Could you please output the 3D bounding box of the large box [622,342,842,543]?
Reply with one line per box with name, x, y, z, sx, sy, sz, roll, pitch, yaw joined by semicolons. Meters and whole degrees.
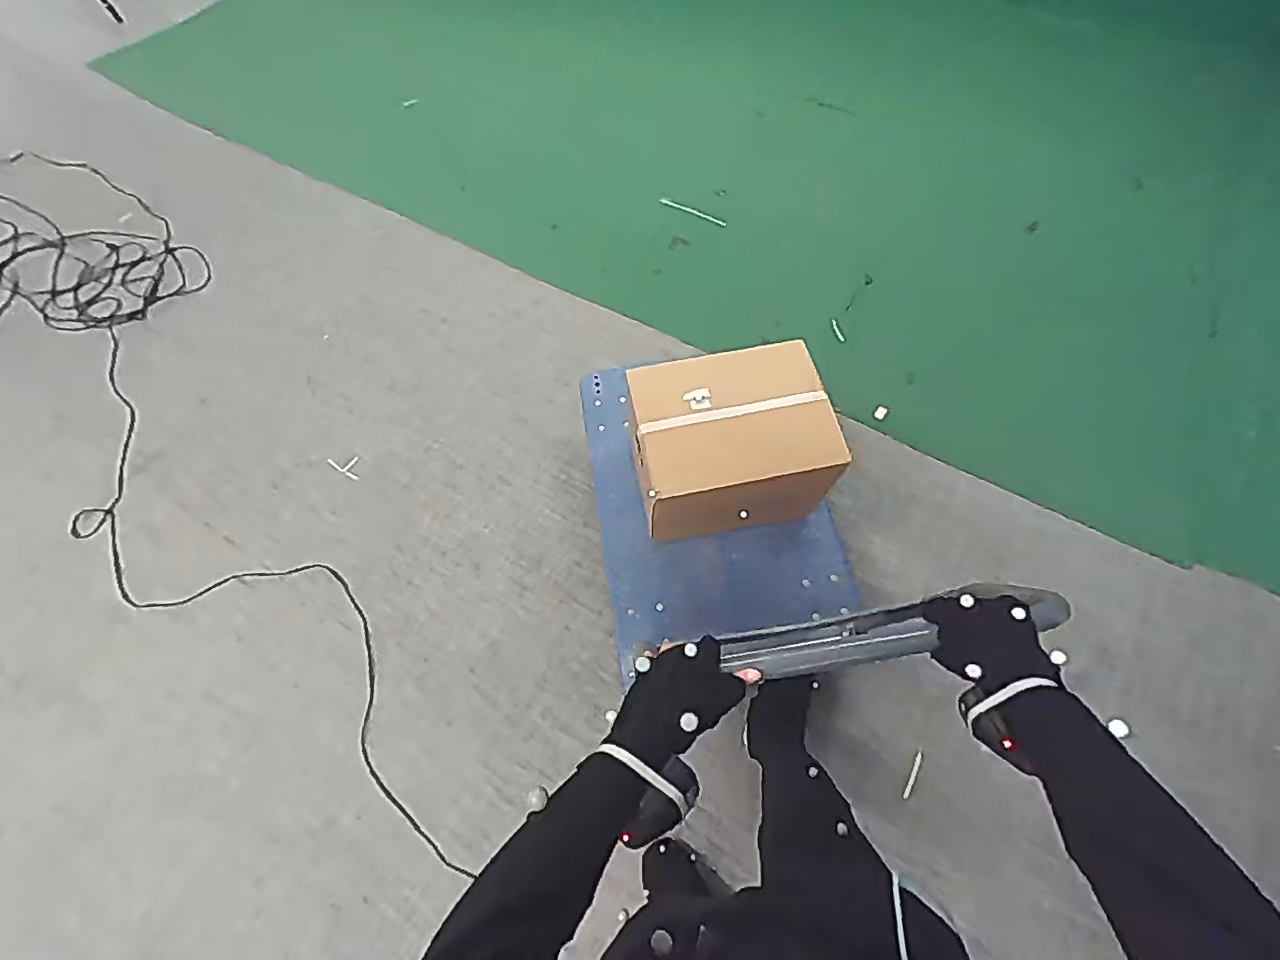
large box;0.189;-0.075;1.271;0.408;0.320;0.320;-12;66;-4
